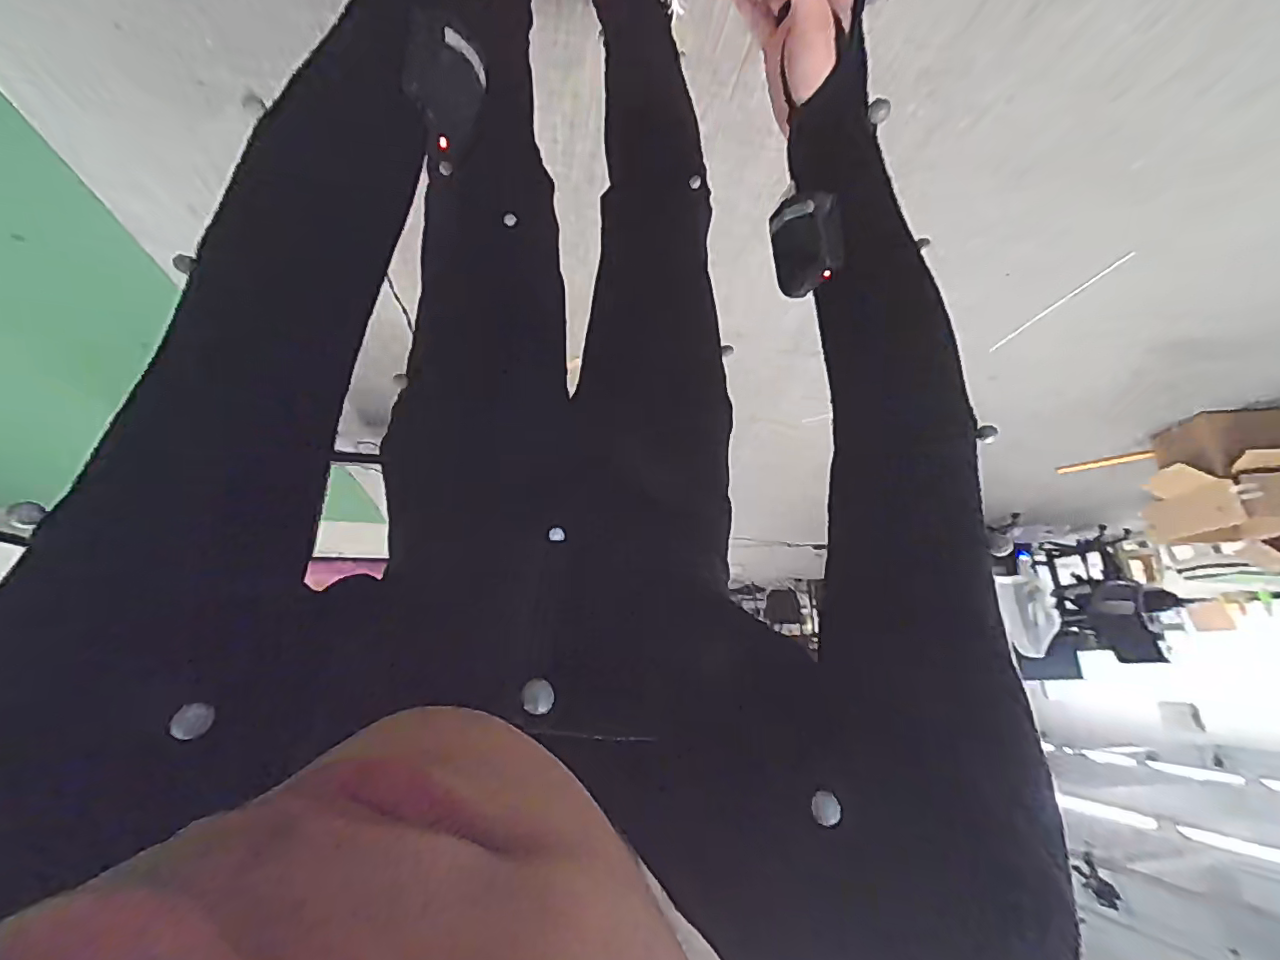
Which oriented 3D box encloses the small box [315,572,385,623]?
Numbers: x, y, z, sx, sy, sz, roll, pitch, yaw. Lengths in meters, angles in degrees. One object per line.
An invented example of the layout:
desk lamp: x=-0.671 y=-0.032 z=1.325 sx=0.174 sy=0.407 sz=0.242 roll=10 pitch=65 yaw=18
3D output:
small box: x=-1.068 y=0.436 z=2.004 sx=0.179 sy=0.176 sz=0.168 roll=3 pitch=162 yaw=-9
